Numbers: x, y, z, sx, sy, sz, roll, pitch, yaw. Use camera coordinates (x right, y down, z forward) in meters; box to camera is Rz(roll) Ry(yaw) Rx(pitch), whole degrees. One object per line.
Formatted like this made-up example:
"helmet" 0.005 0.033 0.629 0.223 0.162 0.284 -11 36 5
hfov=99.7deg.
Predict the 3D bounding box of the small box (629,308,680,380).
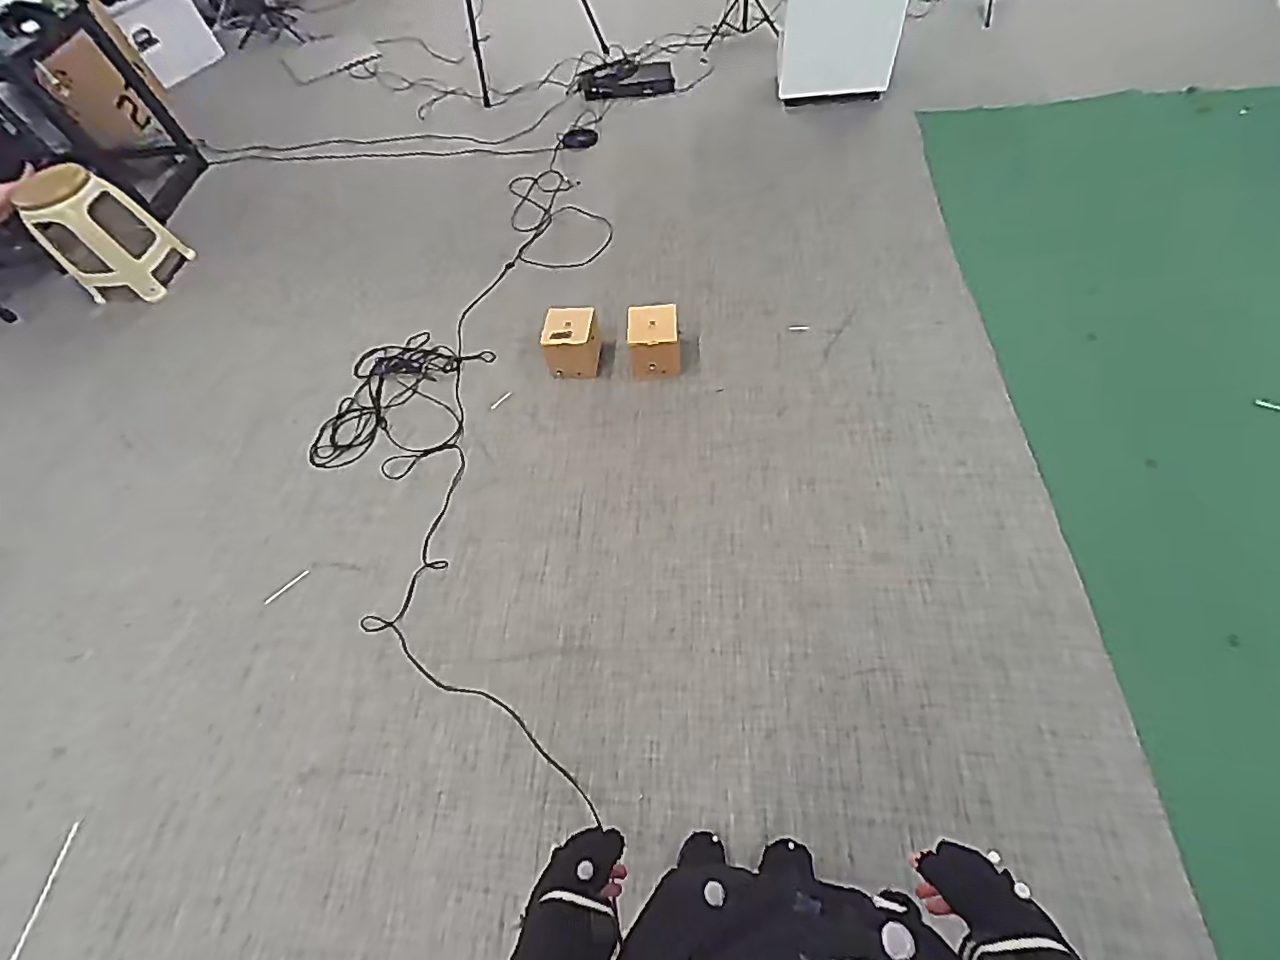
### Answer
"small box" 0.054 -0.473 1.886 0.168 0.176 0.179 -3 60 6

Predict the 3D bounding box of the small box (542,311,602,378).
"small box" -0.235 -0.478 1.924 0.168 0.176 0.179 2 59 8
